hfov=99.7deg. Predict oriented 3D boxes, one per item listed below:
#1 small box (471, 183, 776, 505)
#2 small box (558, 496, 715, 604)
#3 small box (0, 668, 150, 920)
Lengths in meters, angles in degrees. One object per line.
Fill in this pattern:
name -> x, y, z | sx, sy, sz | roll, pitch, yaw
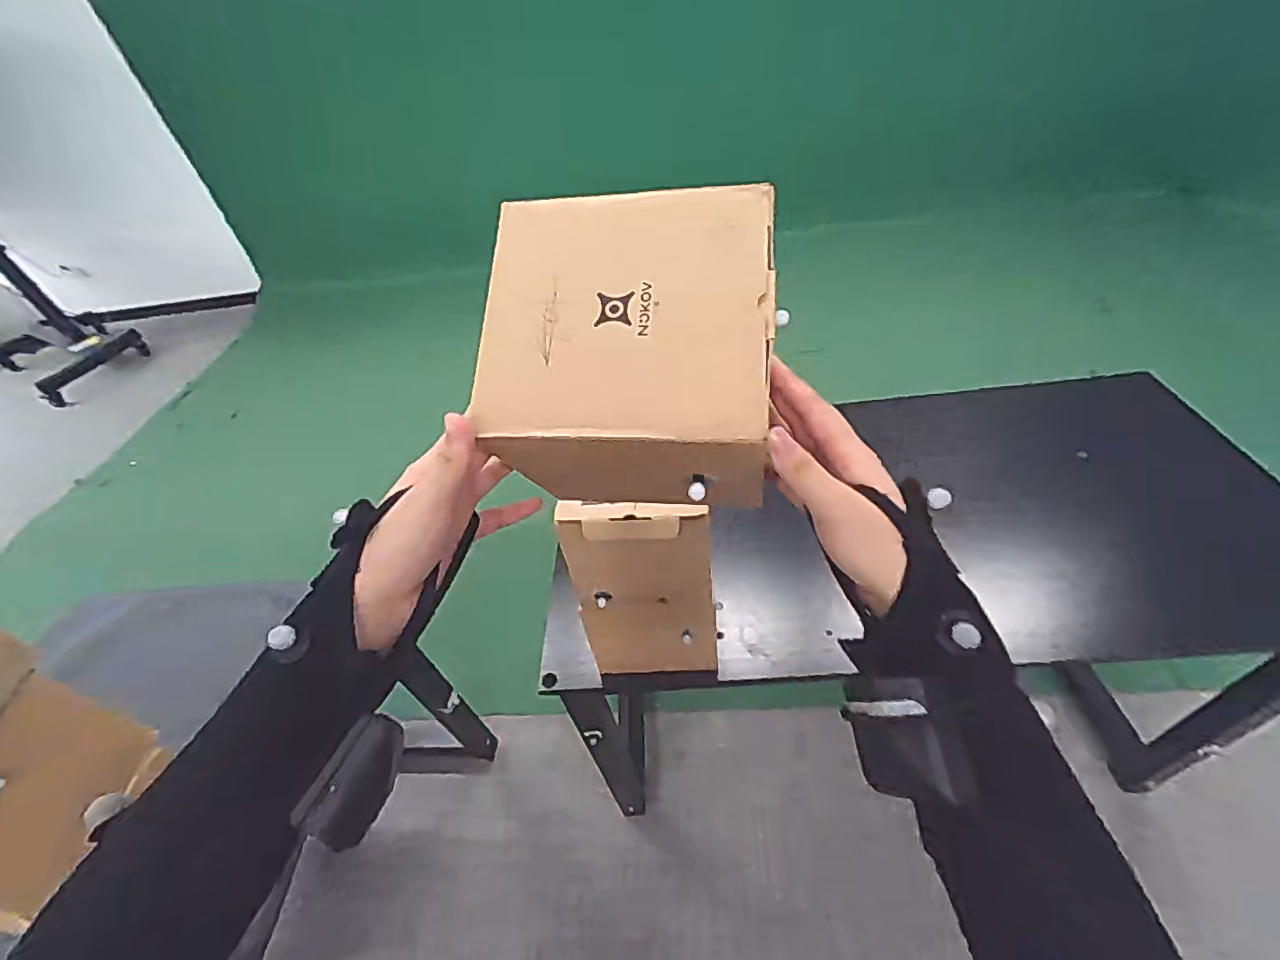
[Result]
small box -> 0.004, -0.080, 0.397 | 0.179, 0.176, 0.168 | 0, 74, 11
small box -> 0.008, 0.041, 0.673 | 0.168, 0.176, 0.179 | -2, 44, 7
small box -> -0.648, 0.305, 0.528 | 0.168, 0.176, 0.179 | -5, 45, 8
